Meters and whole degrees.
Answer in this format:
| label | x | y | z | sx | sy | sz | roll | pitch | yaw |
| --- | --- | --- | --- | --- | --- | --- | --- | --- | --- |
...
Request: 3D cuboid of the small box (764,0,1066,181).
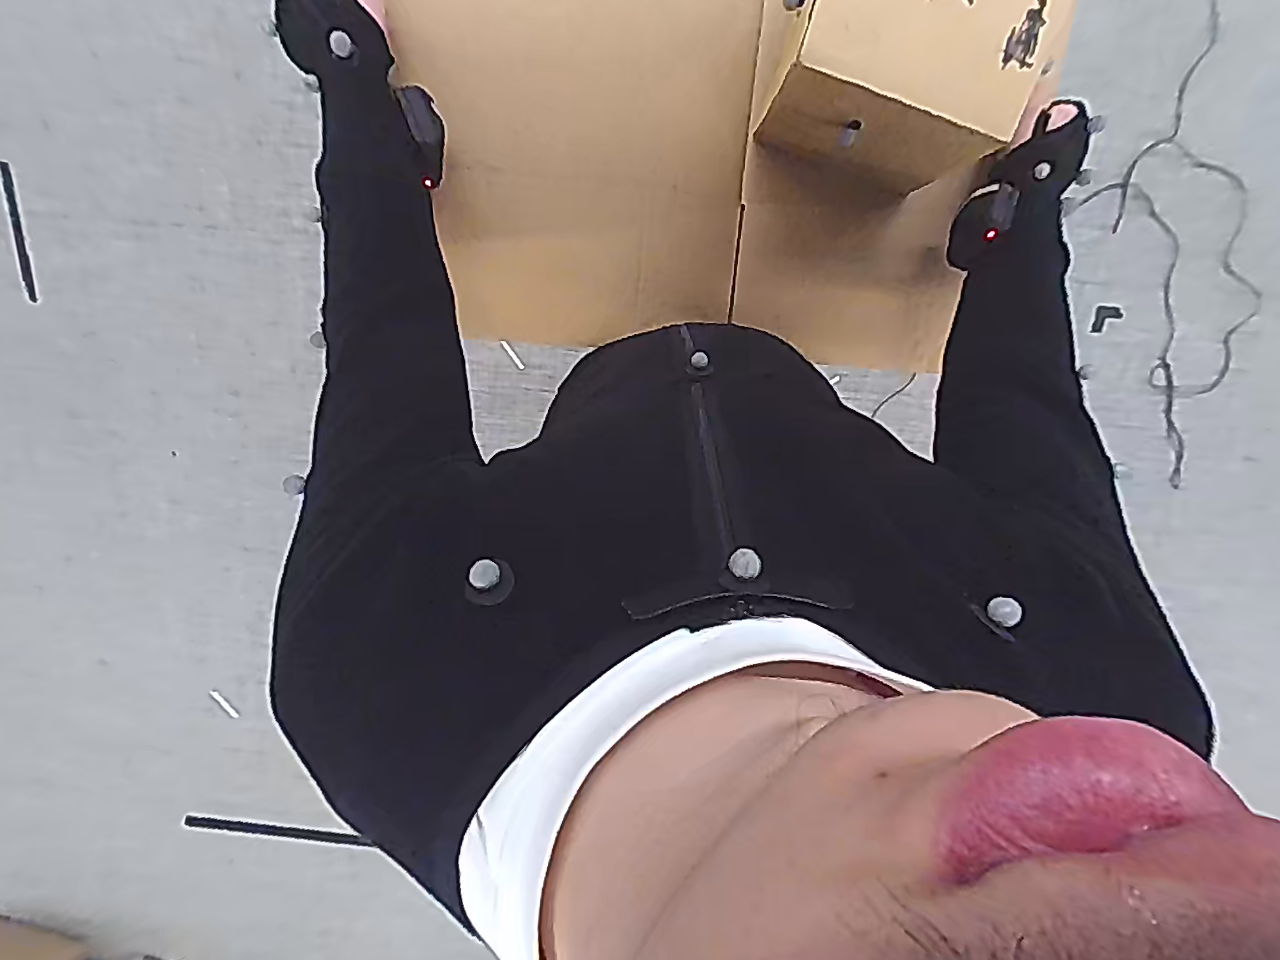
| label | x | y | z | sx | sy | sz | roll | pitch | yaw |
| --- | --- | --- | --- | --- | --- | --- | --- | --- | --- |
| small box | 0.222 | -0.381 | 0.460 | 0.179 | 0.176 | 0.168 | 18 | 106 | -3 |
